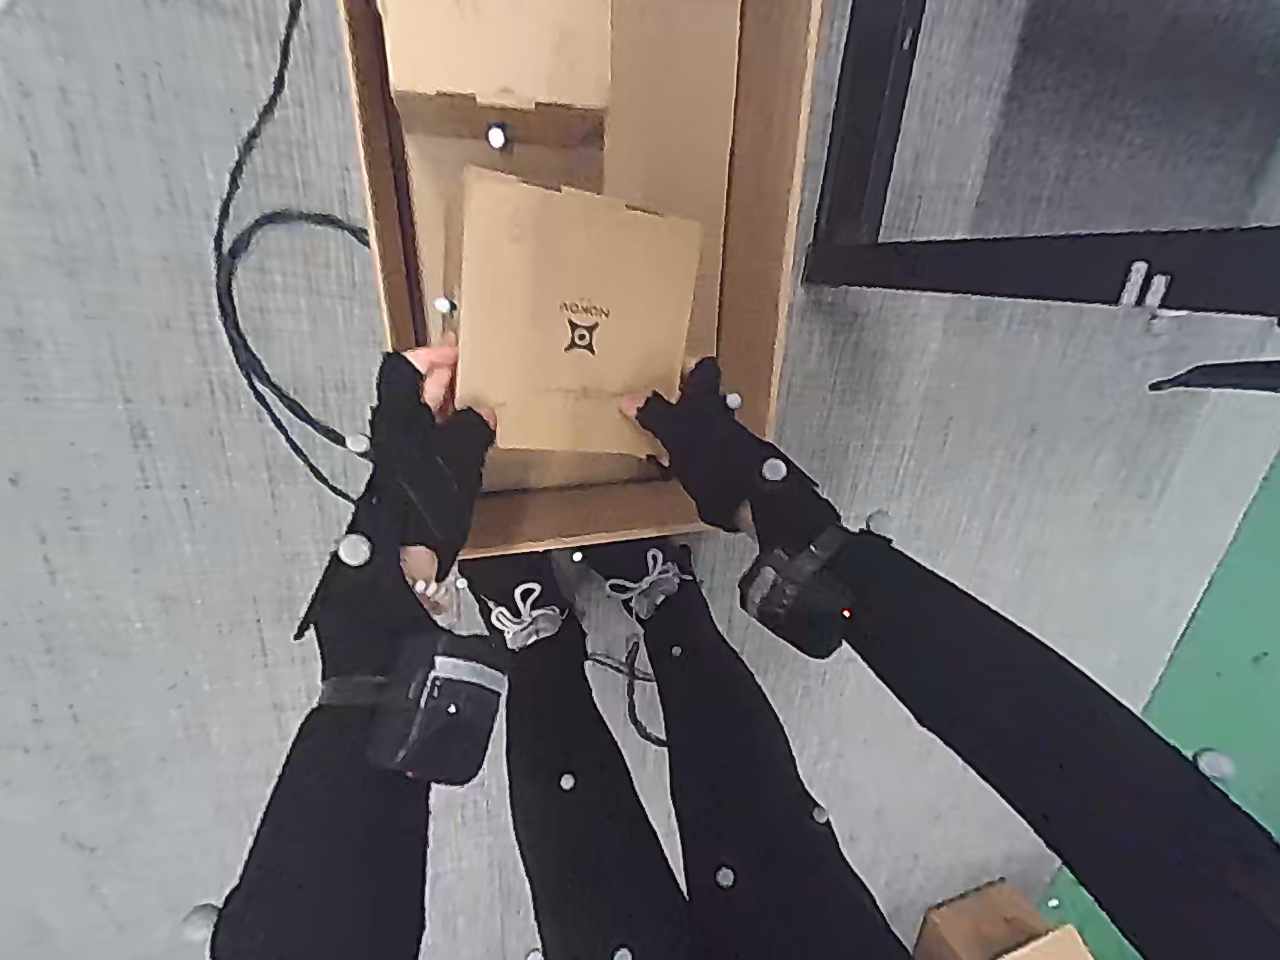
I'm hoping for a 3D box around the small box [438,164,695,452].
[{"bbox_3d":[-0.076,-0.130,0.453,0.168,0.176,0.179,2,105,-24],"label":"small box"}]
